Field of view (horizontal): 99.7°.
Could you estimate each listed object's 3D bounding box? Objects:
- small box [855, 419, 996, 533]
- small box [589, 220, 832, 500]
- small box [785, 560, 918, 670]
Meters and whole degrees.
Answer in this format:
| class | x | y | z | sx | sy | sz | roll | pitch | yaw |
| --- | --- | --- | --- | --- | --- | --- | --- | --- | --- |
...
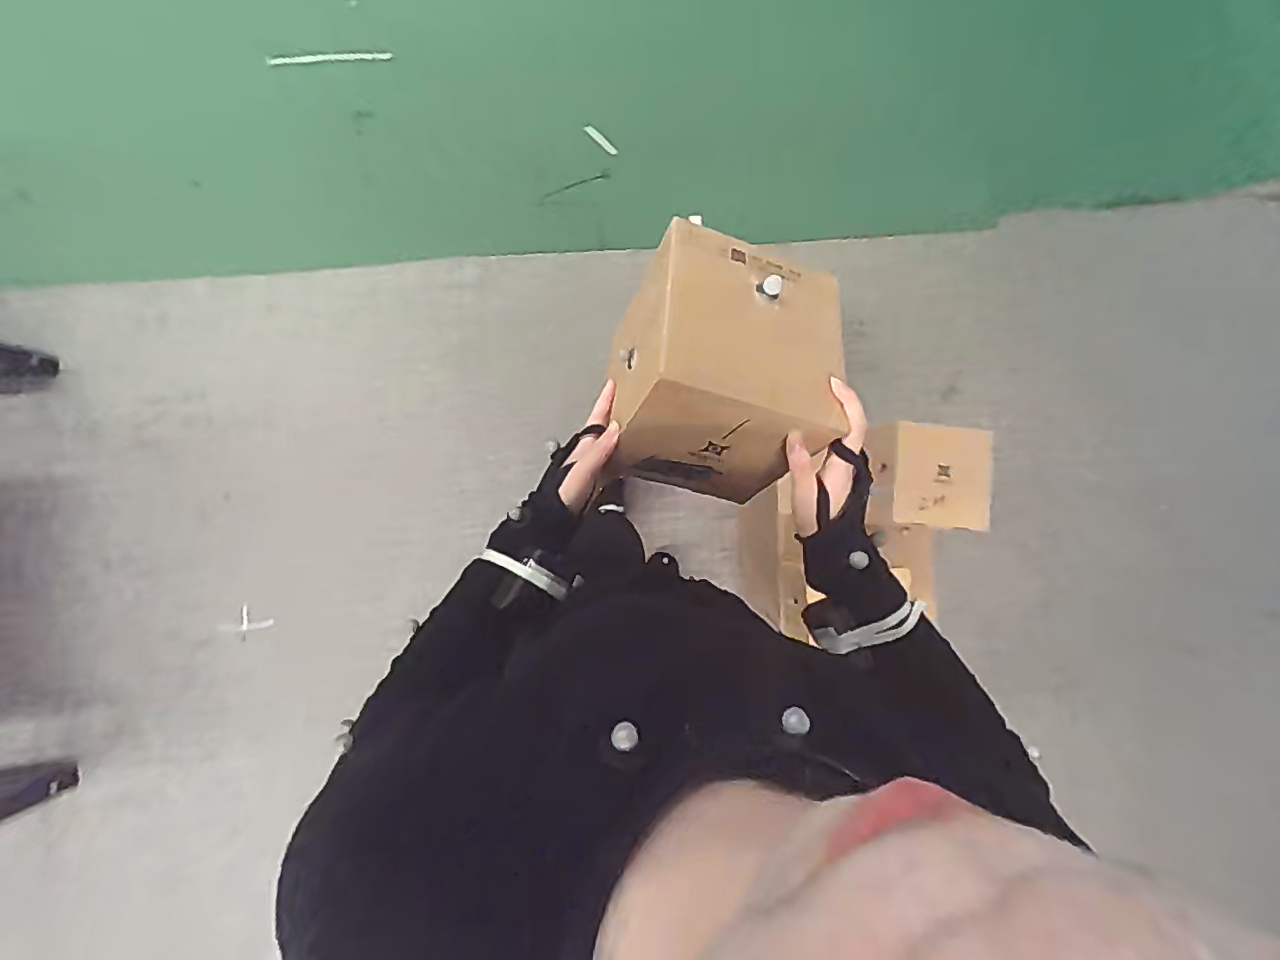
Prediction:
| class | x | y | z | sx | sy | sz | roll | pitch | yaw |
| --- | --- | --- | --- | --- | --- | --- | --- | --- | --- |
| small box | 0.507 | -0.001 | 0.982 | 0.168 | 0.176 | 0.179 | 7 | 86 | 0 |
| small box | 0.059 | -0.102 | 0.514 | 0.168 | 0.179 | 0.176 | 12 | 63 | -15 |
| small box | 0.363 | 0.232 | 0.960 | 0.179 | 0.176 | 0.168 | -1 | 86 | -1 |
